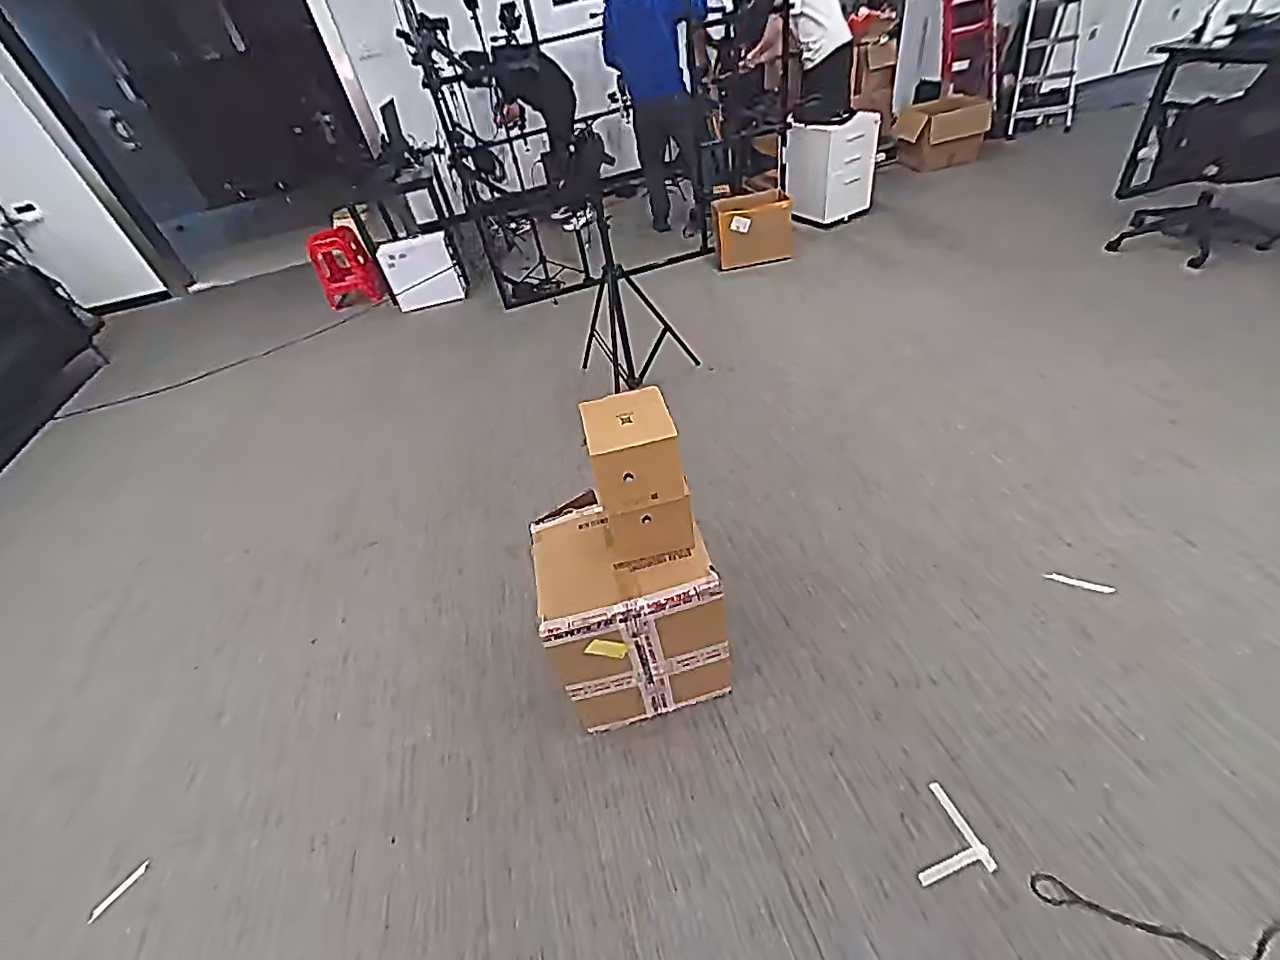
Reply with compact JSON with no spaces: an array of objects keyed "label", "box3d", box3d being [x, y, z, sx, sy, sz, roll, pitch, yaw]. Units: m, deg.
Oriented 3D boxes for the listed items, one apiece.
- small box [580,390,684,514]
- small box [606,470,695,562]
[{"label":"small box","box3d":[-0.014,-0.050,1.083,0.168,0.176,0.179,-14,42,-4]},{"label":"small box","box3d":[0.017,0.061,1.199,0.179,0.176,0.168,-12,43,-2]}]
